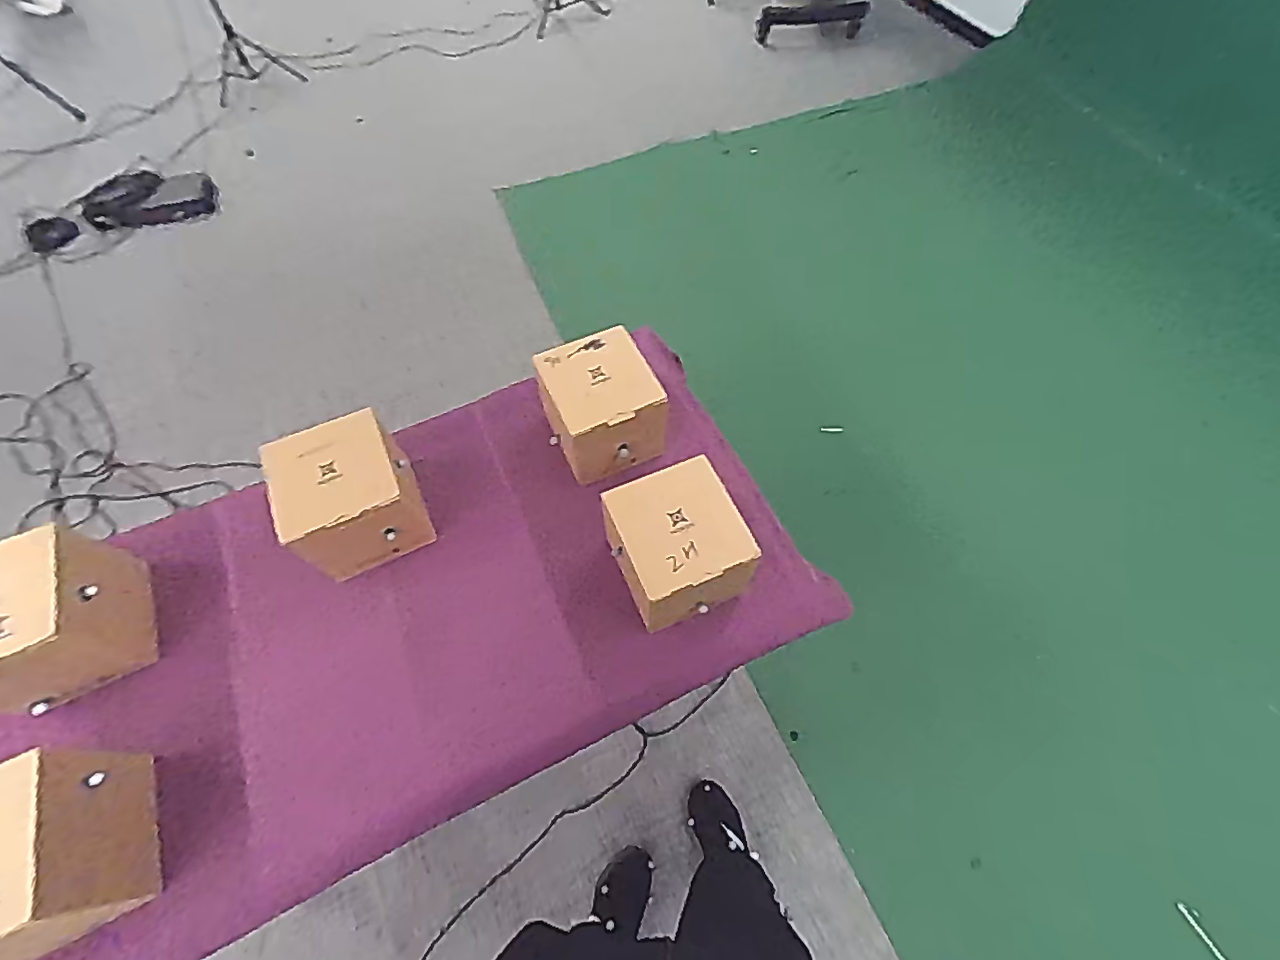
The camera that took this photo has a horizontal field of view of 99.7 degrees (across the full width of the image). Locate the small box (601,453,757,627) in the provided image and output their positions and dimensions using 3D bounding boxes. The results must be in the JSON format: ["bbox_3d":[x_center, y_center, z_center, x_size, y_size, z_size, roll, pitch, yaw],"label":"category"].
[{"bbox_3d":[0.051,0.094,0.811,0.168,0.176,0.179,-22,63,-10],"label":"small box"}]

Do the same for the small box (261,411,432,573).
[{"bbox_3d":[-0.450,0.029,0.851,0.168,0.176,0.179,-24,64,-13],"label":"small box"}]

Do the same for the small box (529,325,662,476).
[{"bbox_3d":[-0.072,-0.126,0.934,0.168,0.176,0.179,-23,65,-12],"label":"small box"}]

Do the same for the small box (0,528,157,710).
[{"bbox_3d":[-0.824,0.201,0.753,0.168,0.176,0.179,-25,64,-14],"label":"small box"}]
